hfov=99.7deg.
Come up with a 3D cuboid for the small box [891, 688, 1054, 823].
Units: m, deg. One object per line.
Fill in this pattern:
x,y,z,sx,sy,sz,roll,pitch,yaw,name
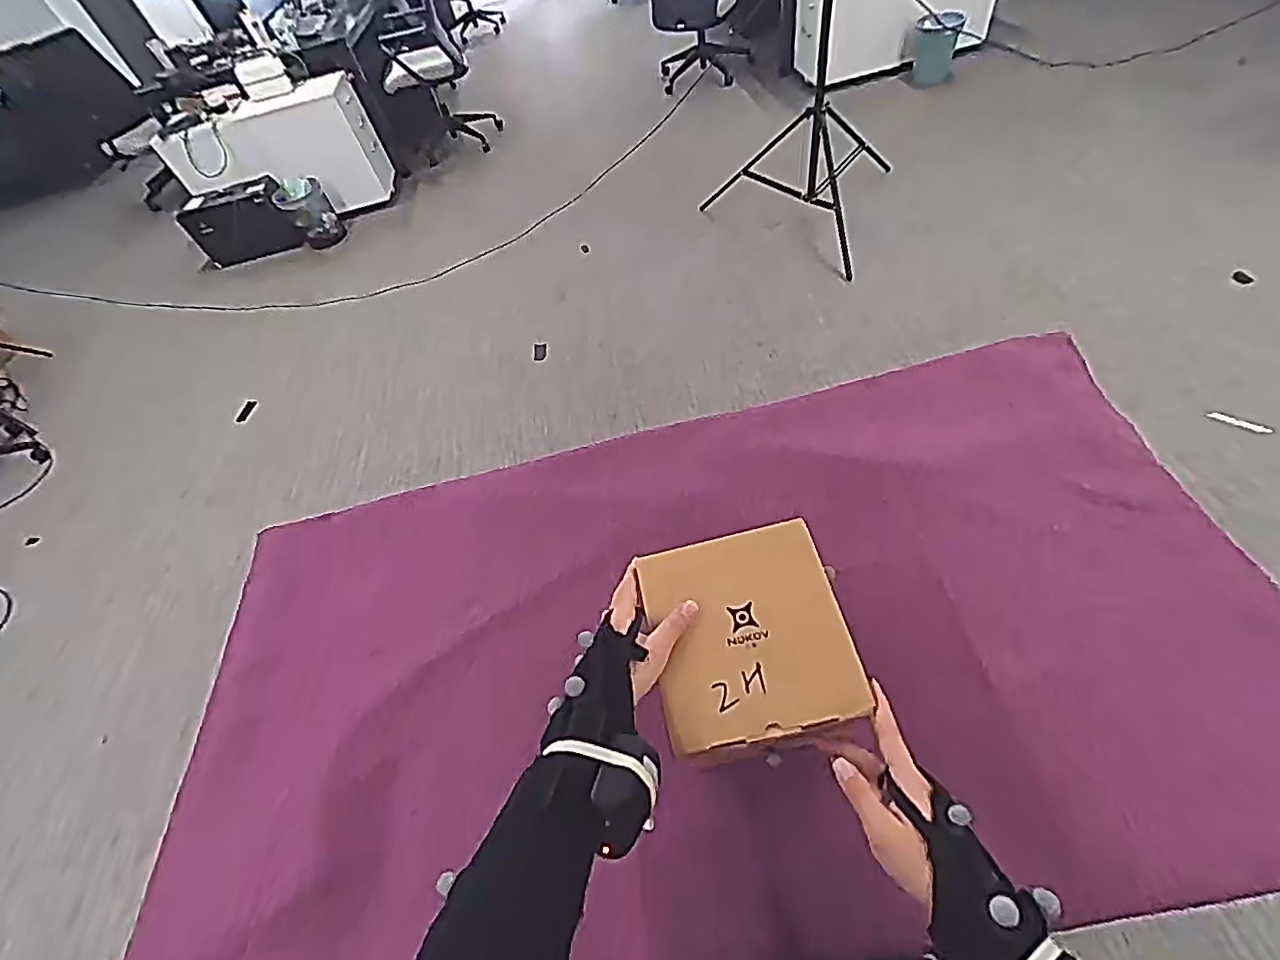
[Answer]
0.575,0.497,0.964,0.168,0.176,0.179,-14,51,3,small box
